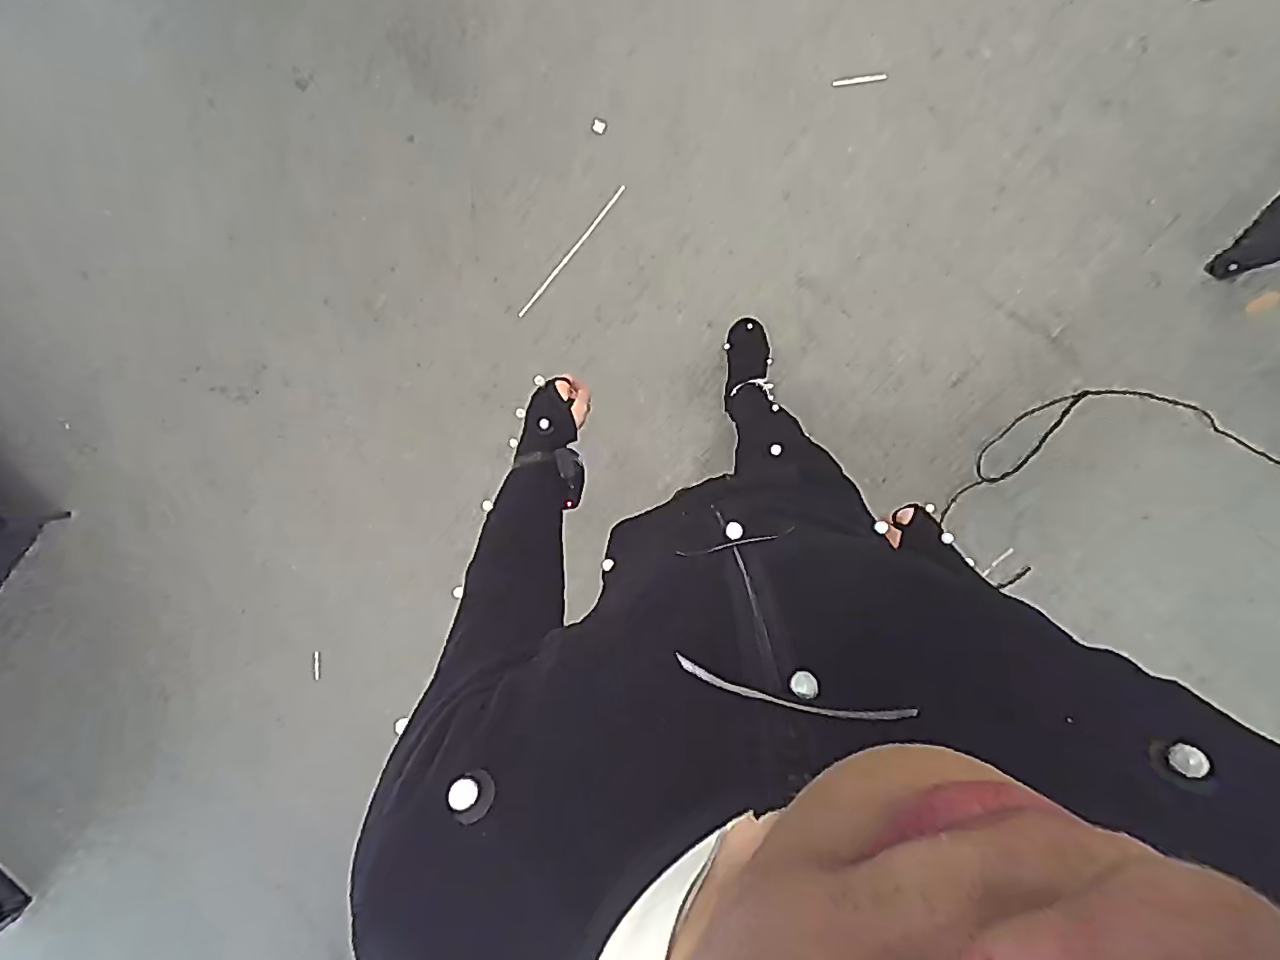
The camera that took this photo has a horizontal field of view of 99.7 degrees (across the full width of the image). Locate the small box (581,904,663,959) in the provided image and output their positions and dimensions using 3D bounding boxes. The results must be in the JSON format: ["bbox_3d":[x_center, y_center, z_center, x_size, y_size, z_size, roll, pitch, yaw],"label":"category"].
[{"bbox_3d":[-0.053,1.314,1.476,0.168,0.176,0.179,-42,90,7],"label":"small box"}]

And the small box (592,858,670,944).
[{"bbox_3d":[-0.025,1.303,1.637,0.179,0.176,0.168,-40,89,6],"label":"small box"}]
